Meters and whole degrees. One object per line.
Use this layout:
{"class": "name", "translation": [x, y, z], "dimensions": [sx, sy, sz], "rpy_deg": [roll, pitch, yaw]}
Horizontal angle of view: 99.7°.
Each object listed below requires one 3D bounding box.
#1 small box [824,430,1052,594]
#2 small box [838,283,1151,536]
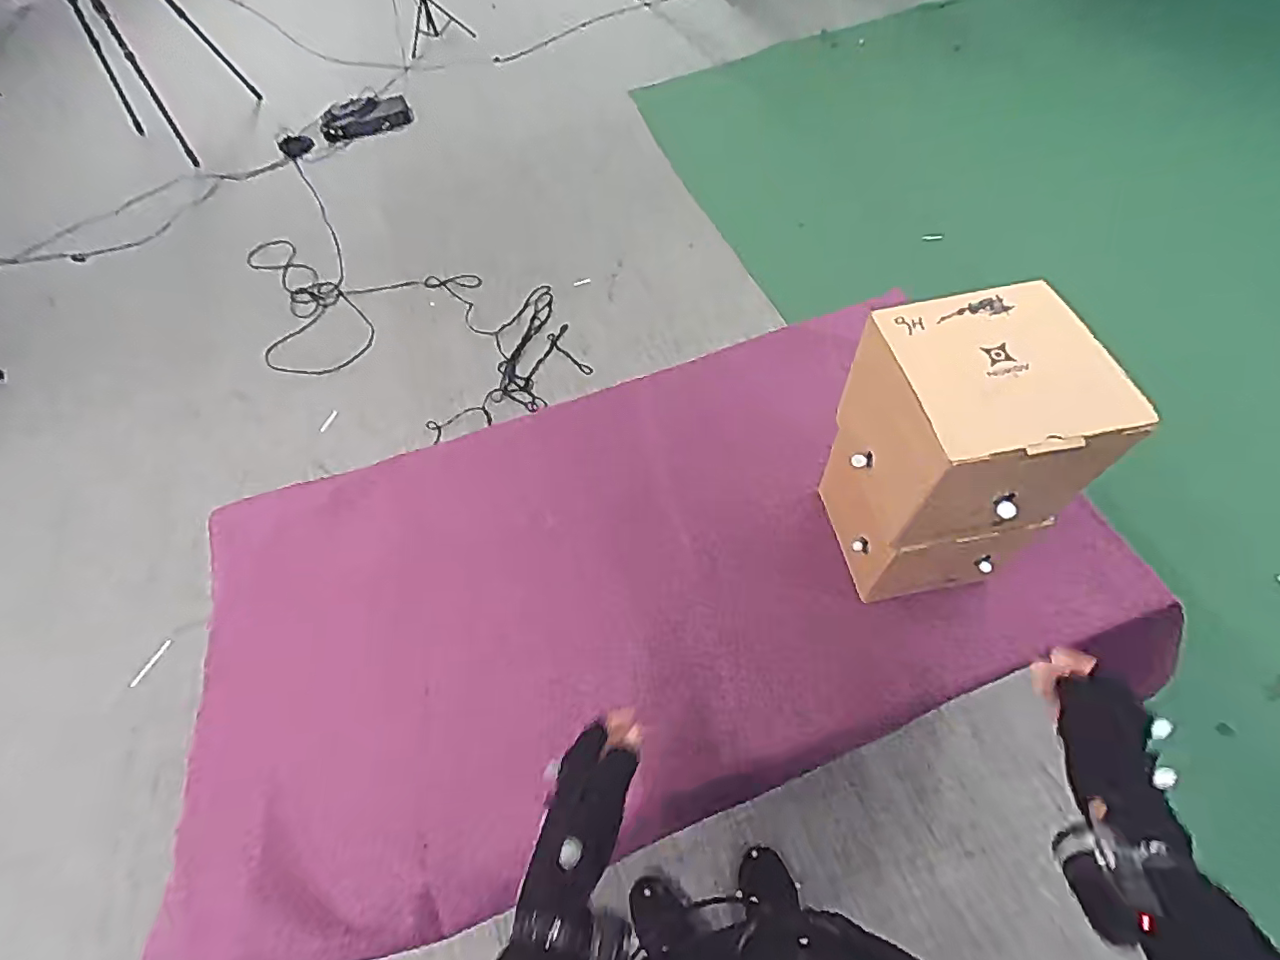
{"class": "small box", "translation": [0.343, 0.030, 0.666], "dimensions": [0.168, 0.176, 0.179], "rpy_deg": [-11, 58, 1]}
{"class": "small box", "translation": [0.314, -0.057, 0.529], "dimensions": [0.168, 0.176, 0.179], "rpy_deg": [-10, 59, 1]}
